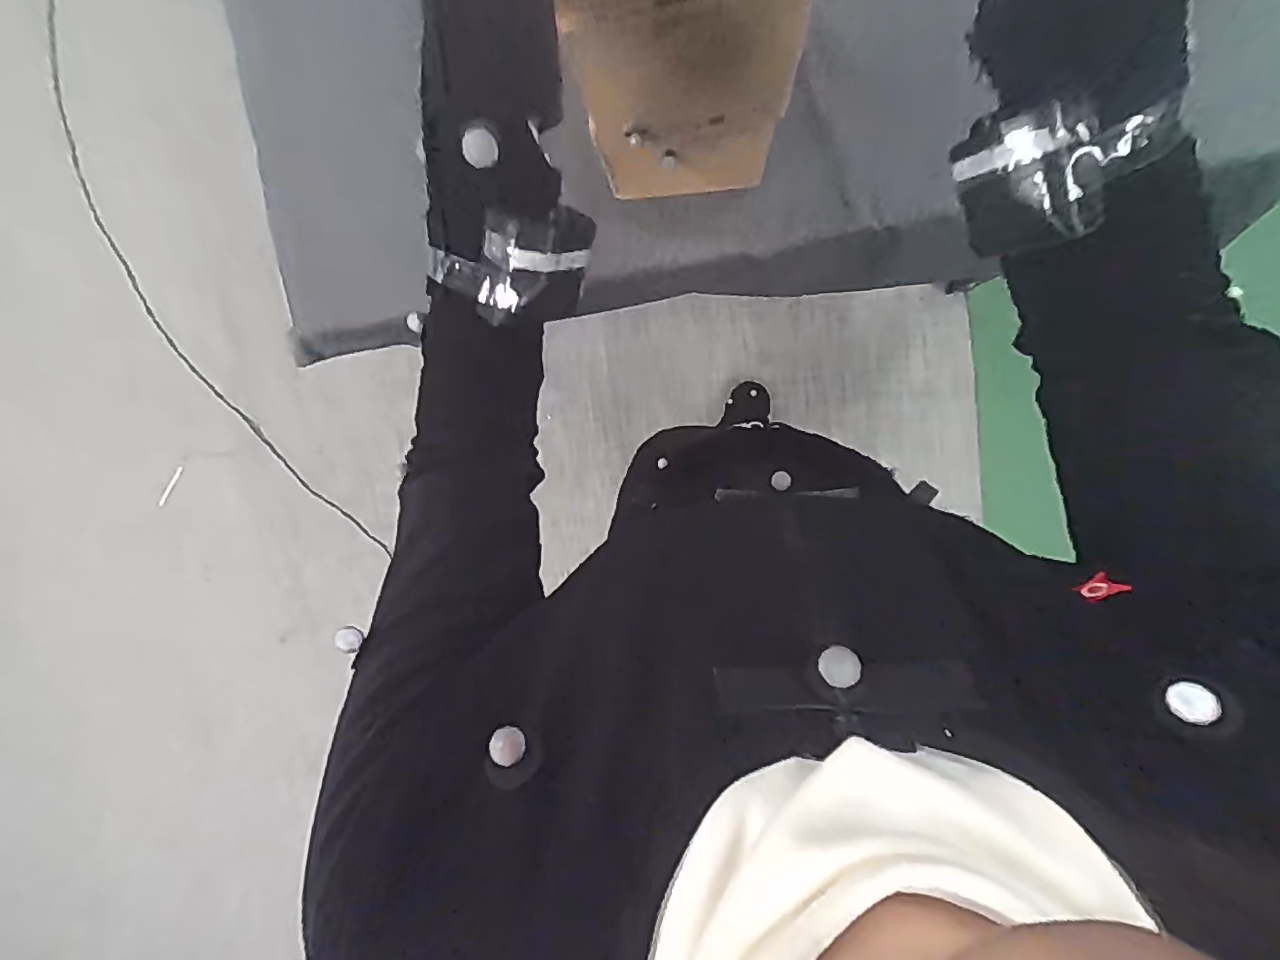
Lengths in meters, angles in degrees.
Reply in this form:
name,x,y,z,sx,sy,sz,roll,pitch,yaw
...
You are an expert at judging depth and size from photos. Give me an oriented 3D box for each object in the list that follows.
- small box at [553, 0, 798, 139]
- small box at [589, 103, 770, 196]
name,x,y,z,sx,sy,sz,roll,pitch,yaw
small box,0.023,-0.394,0.412,0.168,0.176,0.179,-10,96,8
small box,0.043,-0.426,0.574,0.179,0.176,0.168,-4,94,6
